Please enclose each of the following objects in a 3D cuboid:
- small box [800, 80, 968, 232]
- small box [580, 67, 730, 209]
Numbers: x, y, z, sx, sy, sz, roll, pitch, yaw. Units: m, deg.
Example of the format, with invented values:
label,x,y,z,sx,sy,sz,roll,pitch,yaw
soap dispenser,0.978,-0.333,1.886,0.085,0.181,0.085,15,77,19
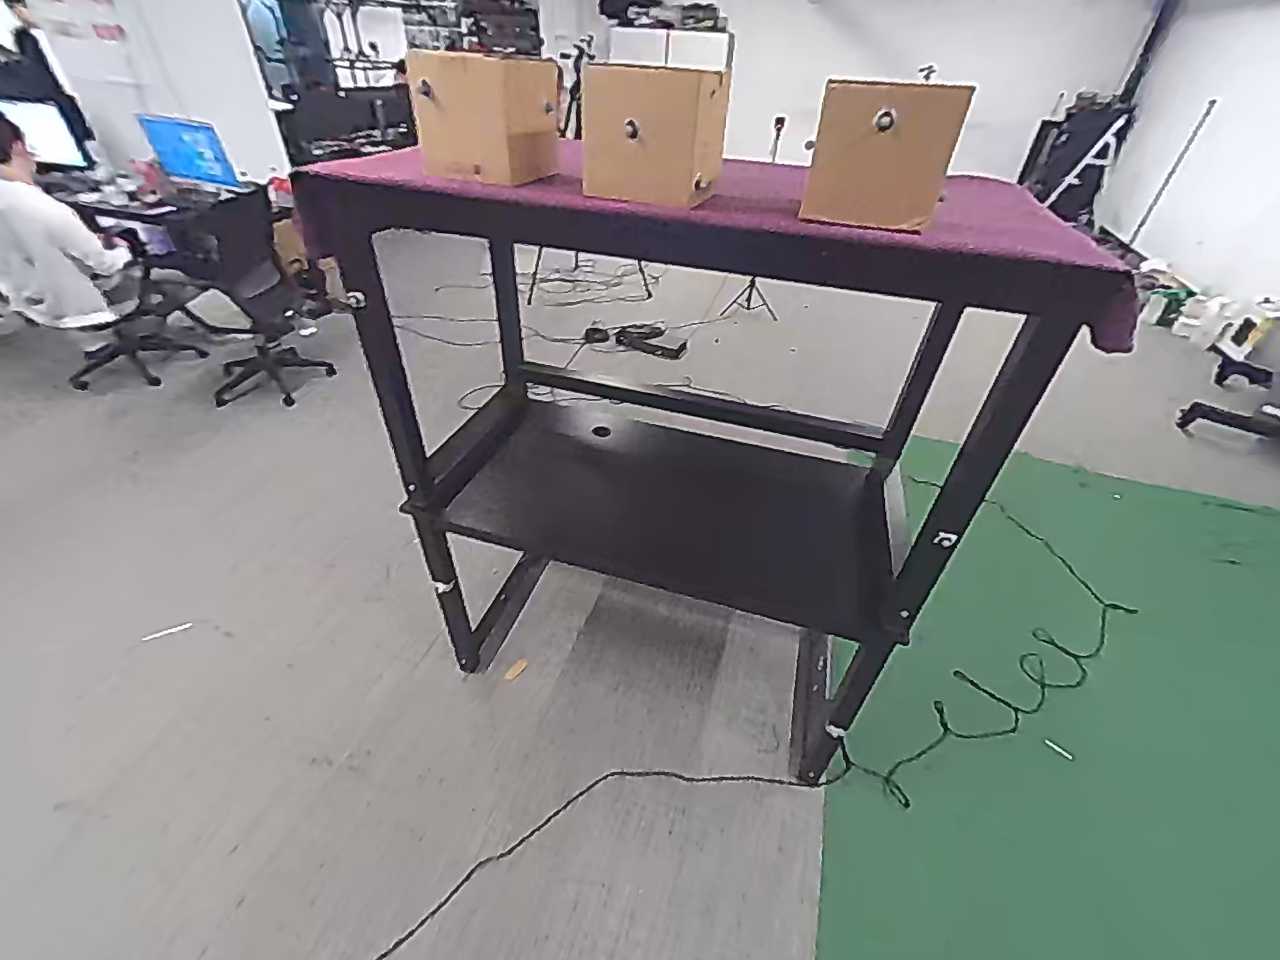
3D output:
label,x,y,z,sx,sy,sz,roll,pitch,yaw
small box,0.338,-0.464,0.774,0.179,0.176,0.168,15,40,15
small box,0.024,-0.527,0.834,0.179,0.176,0.168,15,39,17
